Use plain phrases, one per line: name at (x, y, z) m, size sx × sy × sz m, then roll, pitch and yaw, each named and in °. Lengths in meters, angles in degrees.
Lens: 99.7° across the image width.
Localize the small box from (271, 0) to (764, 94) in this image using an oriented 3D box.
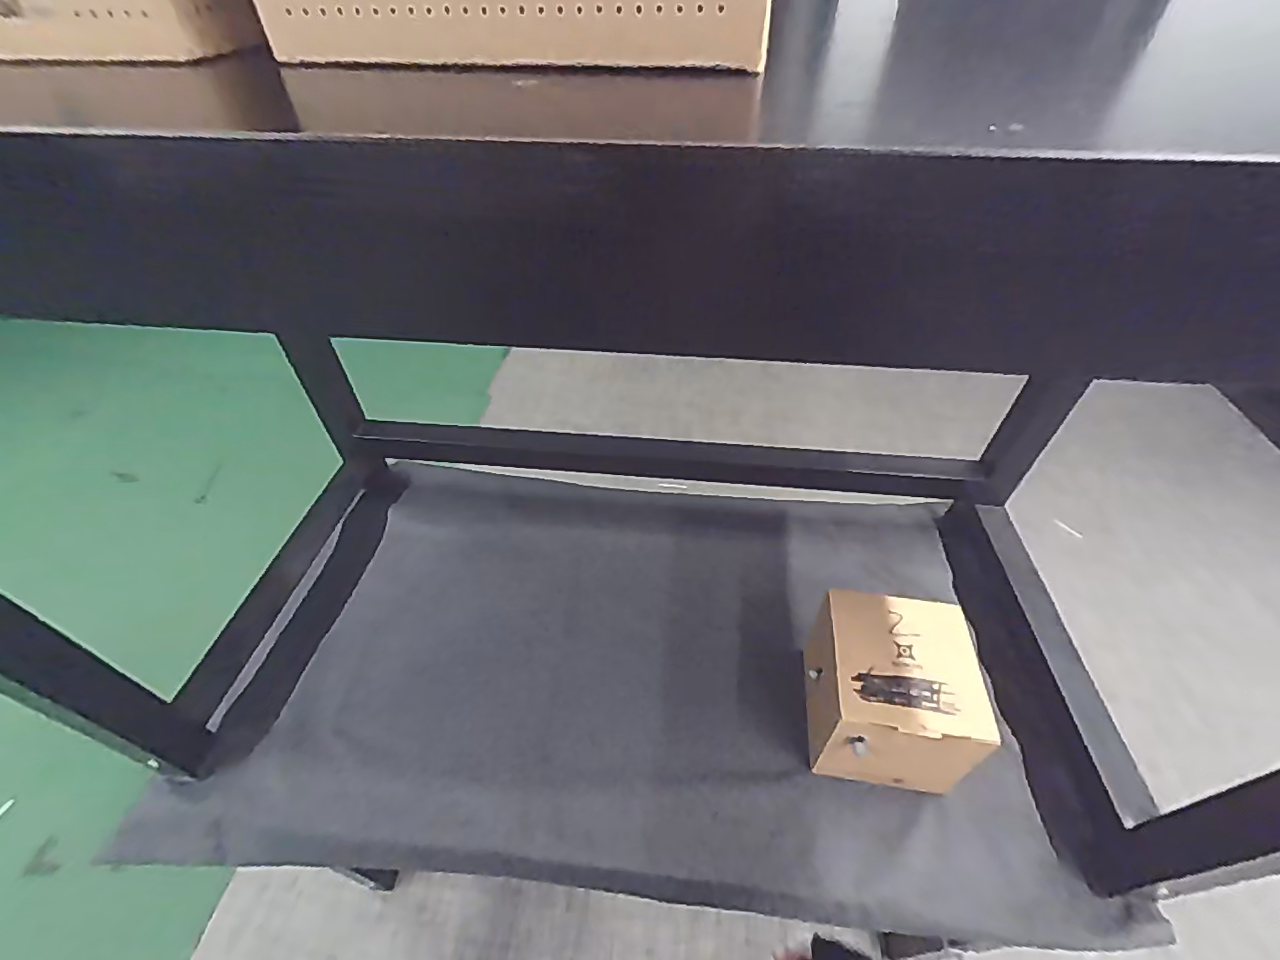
small box at (-0.037, -0.251, 0.191) m, size 0.179 × 0.176 × 0.168 m, roll 7°, pitch 46°, yaw 7°
